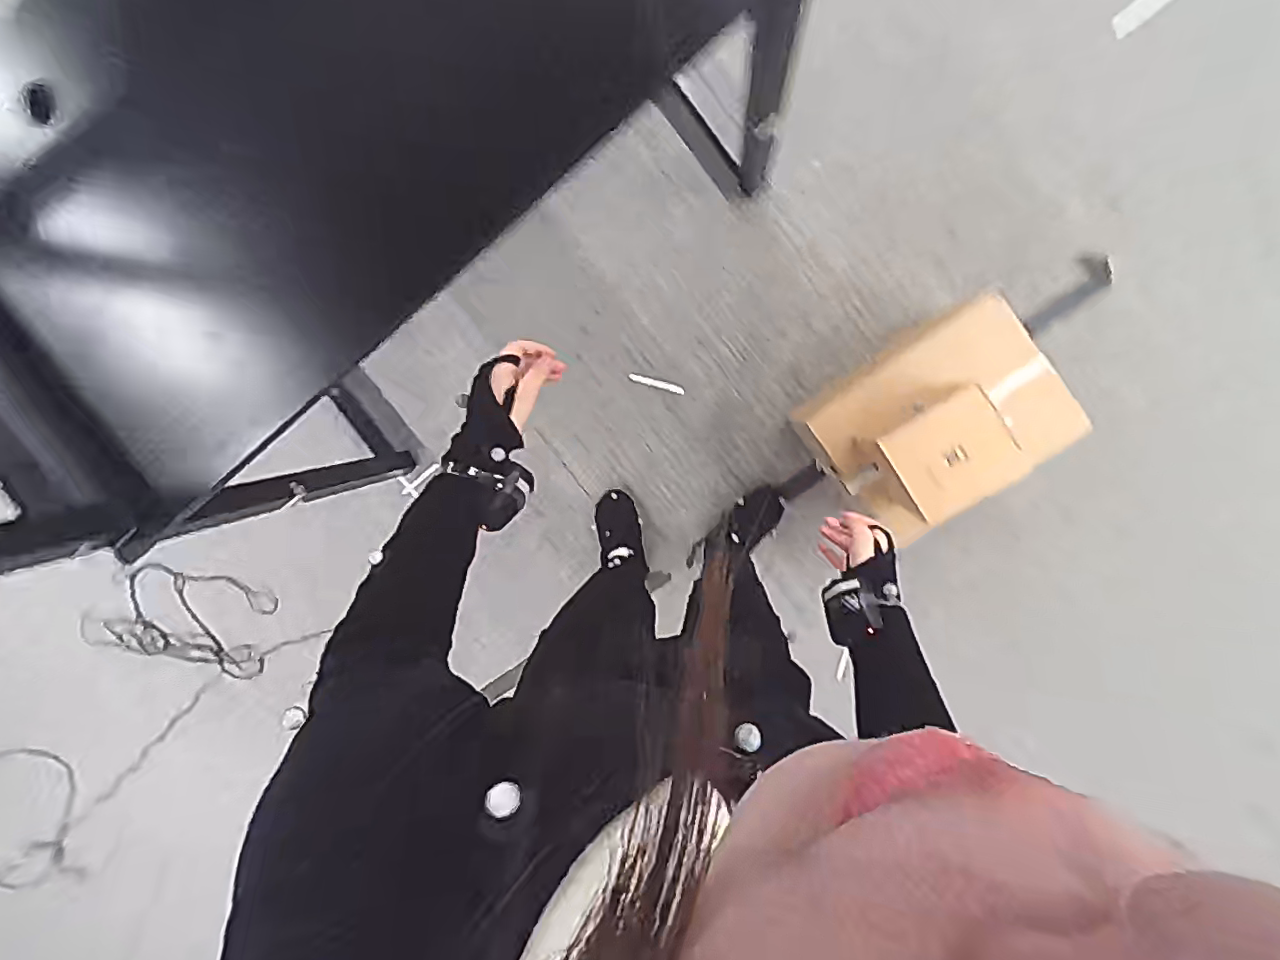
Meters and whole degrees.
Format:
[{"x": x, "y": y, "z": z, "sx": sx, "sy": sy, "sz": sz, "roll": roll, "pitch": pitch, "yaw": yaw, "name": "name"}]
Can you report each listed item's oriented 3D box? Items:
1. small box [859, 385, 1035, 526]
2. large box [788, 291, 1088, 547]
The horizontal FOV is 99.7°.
[{"x": 0.508, "y": -0.048, "z": 0.925, "sx": 0.179, "sy": 0.176, "sz": 0.168, "roll": -32, "pitch": 92, "yaw": 11, "name": "small box"}, {"x": 0.586, "y": -0.123, "z": 1.153, "sx": 0.408, "sy": 0.320, "sz": 0.320, "roll": -36, "pitch": 94, "yaw": 10, "name": "large box"}]
